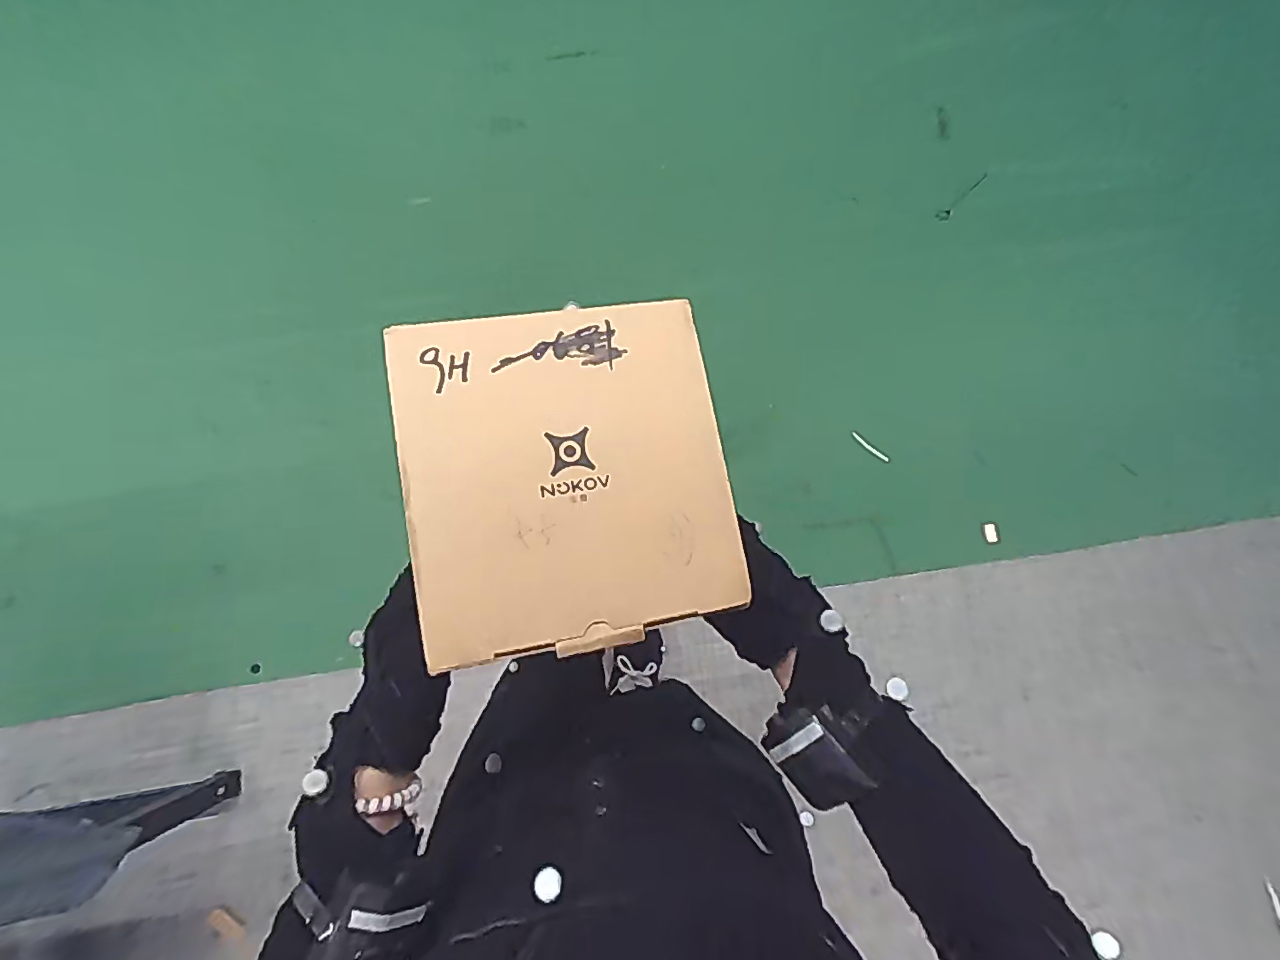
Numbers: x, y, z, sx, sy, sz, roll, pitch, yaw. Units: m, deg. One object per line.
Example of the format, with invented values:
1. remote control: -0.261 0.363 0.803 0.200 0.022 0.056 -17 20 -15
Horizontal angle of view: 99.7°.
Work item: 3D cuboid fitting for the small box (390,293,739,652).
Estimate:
1. small box: -0.051 0.000 0.362 0.168 0.176 0.179 -8 82 -12
